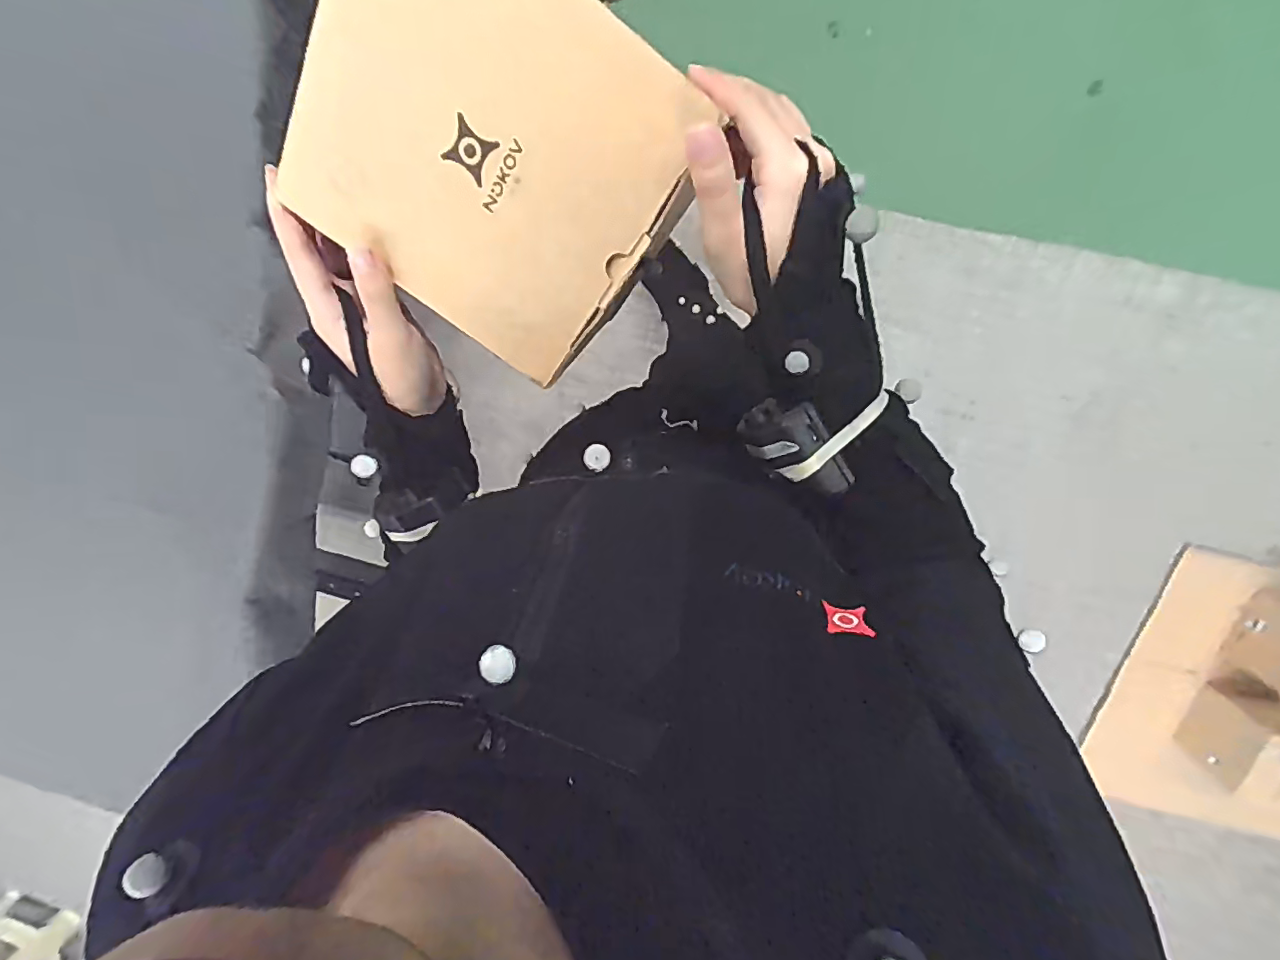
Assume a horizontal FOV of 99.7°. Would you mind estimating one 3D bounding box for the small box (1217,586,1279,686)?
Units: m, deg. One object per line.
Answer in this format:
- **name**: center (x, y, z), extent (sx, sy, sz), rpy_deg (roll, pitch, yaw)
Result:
- **small box**: center (1.425, 0.348, 1.150), extent (0.179, 0.176, 0.168), rpy_deg (13, 108, 6)
